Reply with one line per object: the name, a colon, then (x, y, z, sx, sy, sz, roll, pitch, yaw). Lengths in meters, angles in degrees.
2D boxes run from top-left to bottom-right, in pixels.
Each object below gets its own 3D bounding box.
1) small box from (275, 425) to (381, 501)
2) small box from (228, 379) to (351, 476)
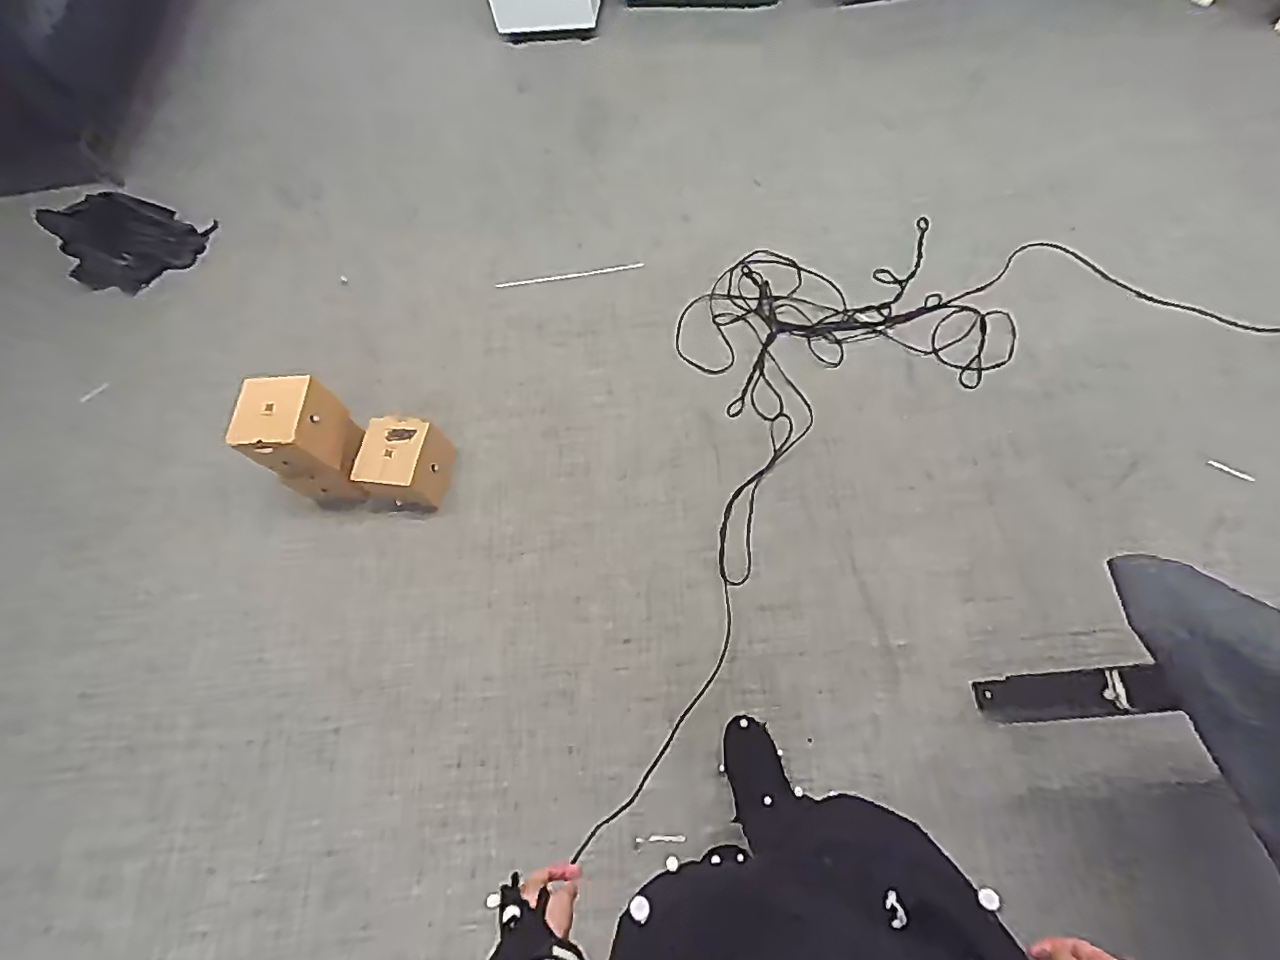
small box: (-0.824, -0.046, 1.447, 0.168, 0.176, 0.179, -2, 68, 6)
small box: (-0.829, -0.123, 1.302, 0.168, 0.176, 0.179, -2, 67, 5)
